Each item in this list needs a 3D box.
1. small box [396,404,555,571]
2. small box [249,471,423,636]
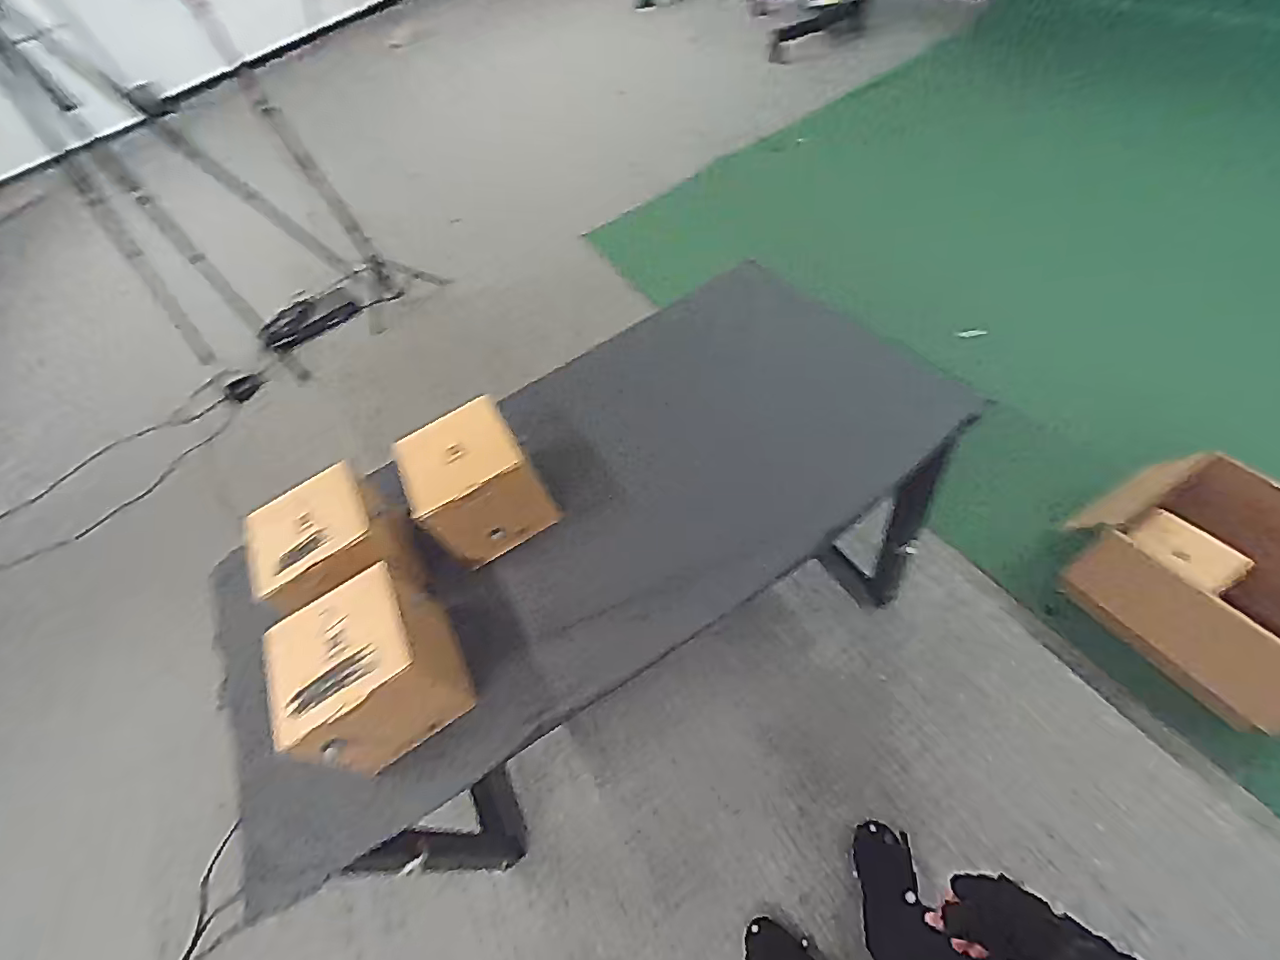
[{"bbox_3d":[-0.263,0.016,0.884,0.168,0.176,0.179,-31,54,-8],"label":"small box"},{"bbox_3d":[-0.476,0.126,0.862,0.168,0.176,0.179,-33,53,-10],"label":"small box"}]
